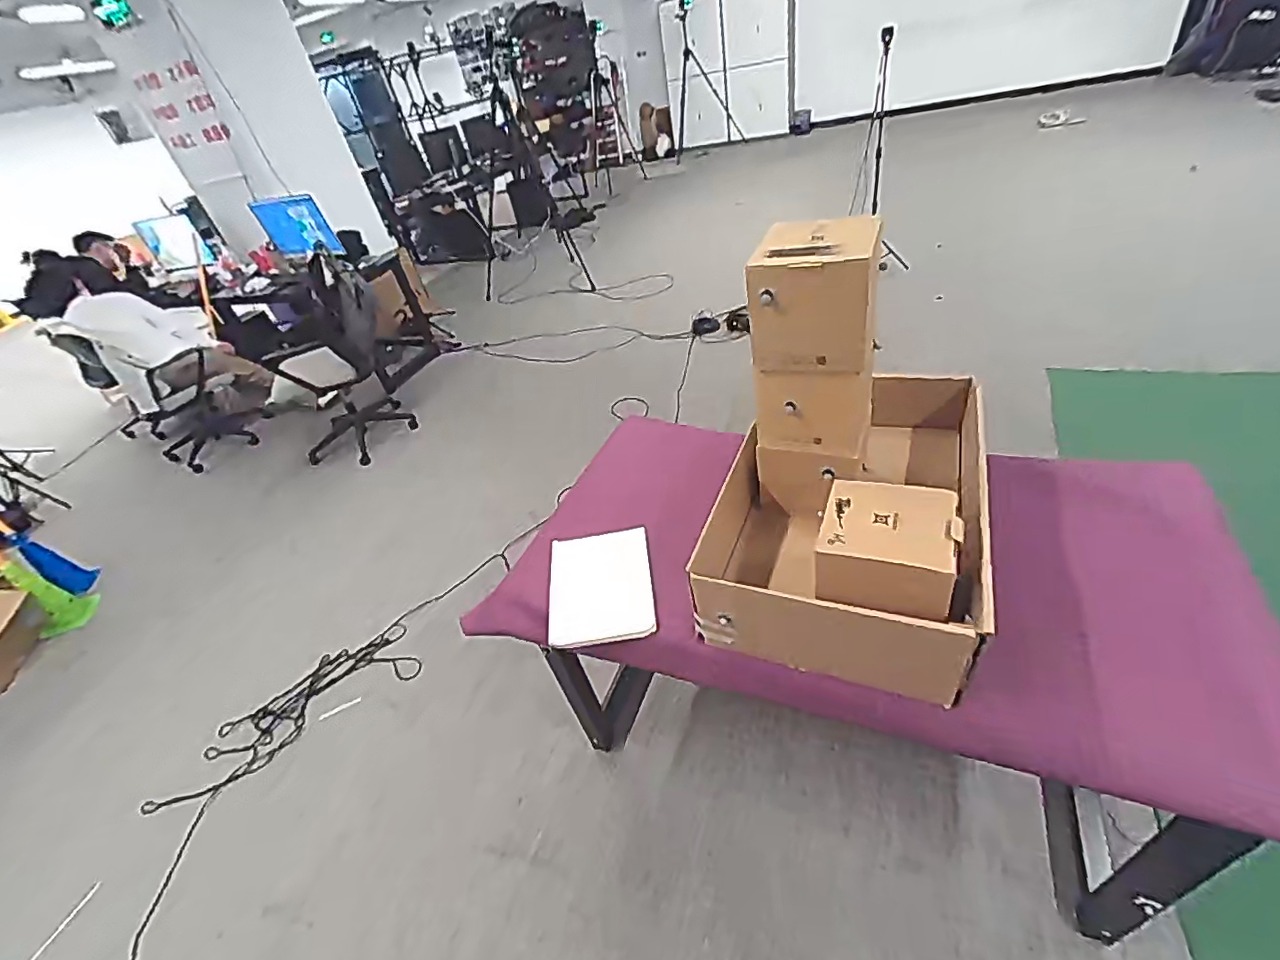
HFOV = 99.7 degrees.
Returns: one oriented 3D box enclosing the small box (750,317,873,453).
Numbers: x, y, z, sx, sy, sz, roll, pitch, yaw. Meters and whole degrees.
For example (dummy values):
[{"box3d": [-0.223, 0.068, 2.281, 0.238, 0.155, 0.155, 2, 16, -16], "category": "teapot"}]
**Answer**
[{"box3d": [0.302, -0.165, 0.937, 0.168, 0.176, 0.179, 9, 45, 27], "category": "small box"}]
